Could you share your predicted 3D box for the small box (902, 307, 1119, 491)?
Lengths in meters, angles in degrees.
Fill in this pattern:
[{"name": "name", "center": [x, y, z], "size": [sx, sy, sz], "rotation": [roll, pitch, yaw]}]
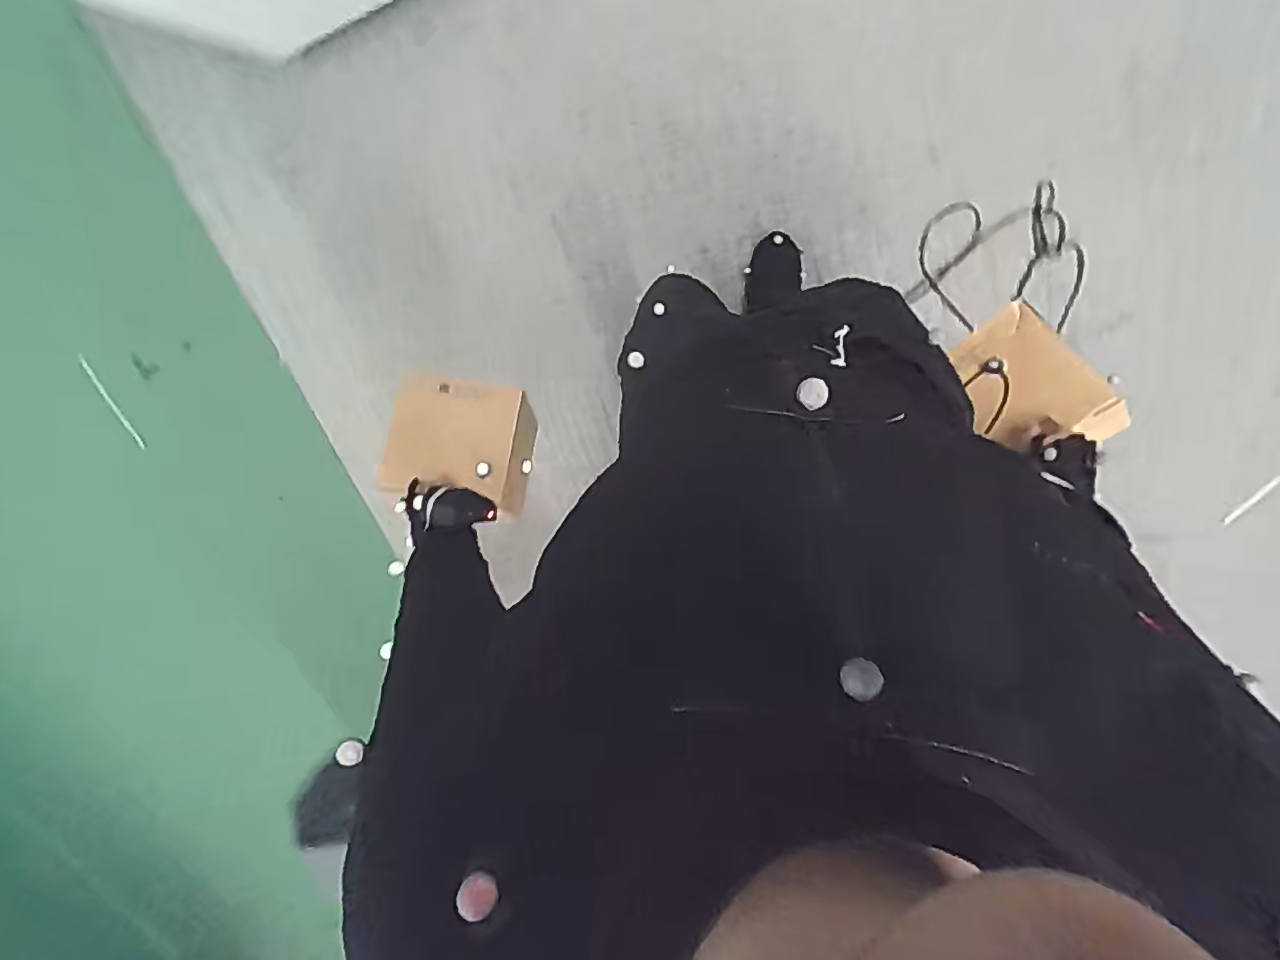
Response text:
[{"name": "small box", "center": [0.491, -0.102, 0.725], "size": [0.168, 0.179, 0.176], "rotation": [-41, 59, 32]}]
